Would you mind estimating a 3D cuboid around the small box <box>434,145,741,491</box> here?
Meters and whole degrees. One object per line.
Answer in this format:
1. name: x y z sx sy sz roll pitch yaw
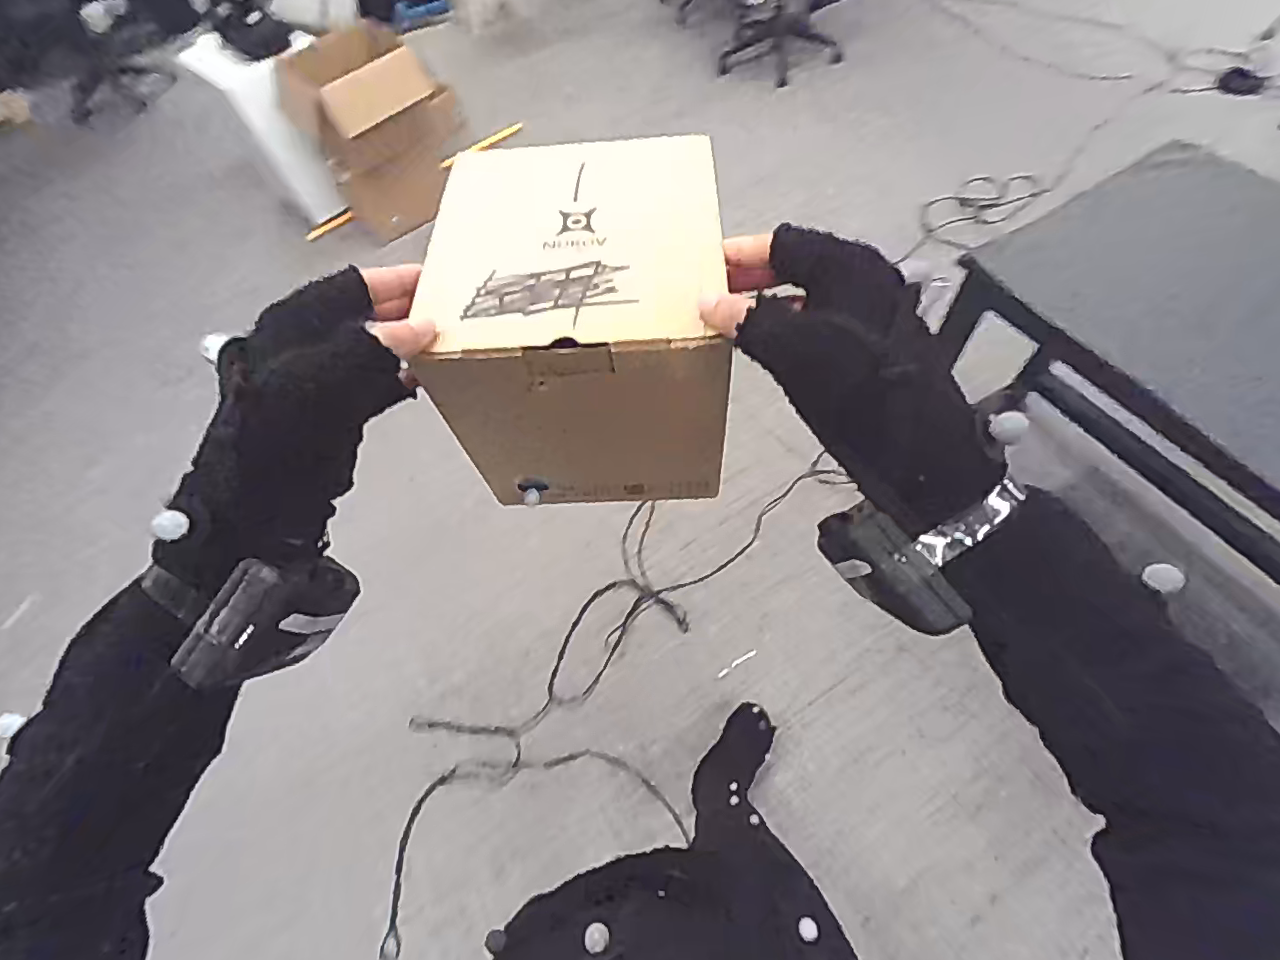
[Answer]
1. small box: -0.020 -0.101 0.387 0.168 0.176 0.179 -1 59 4
